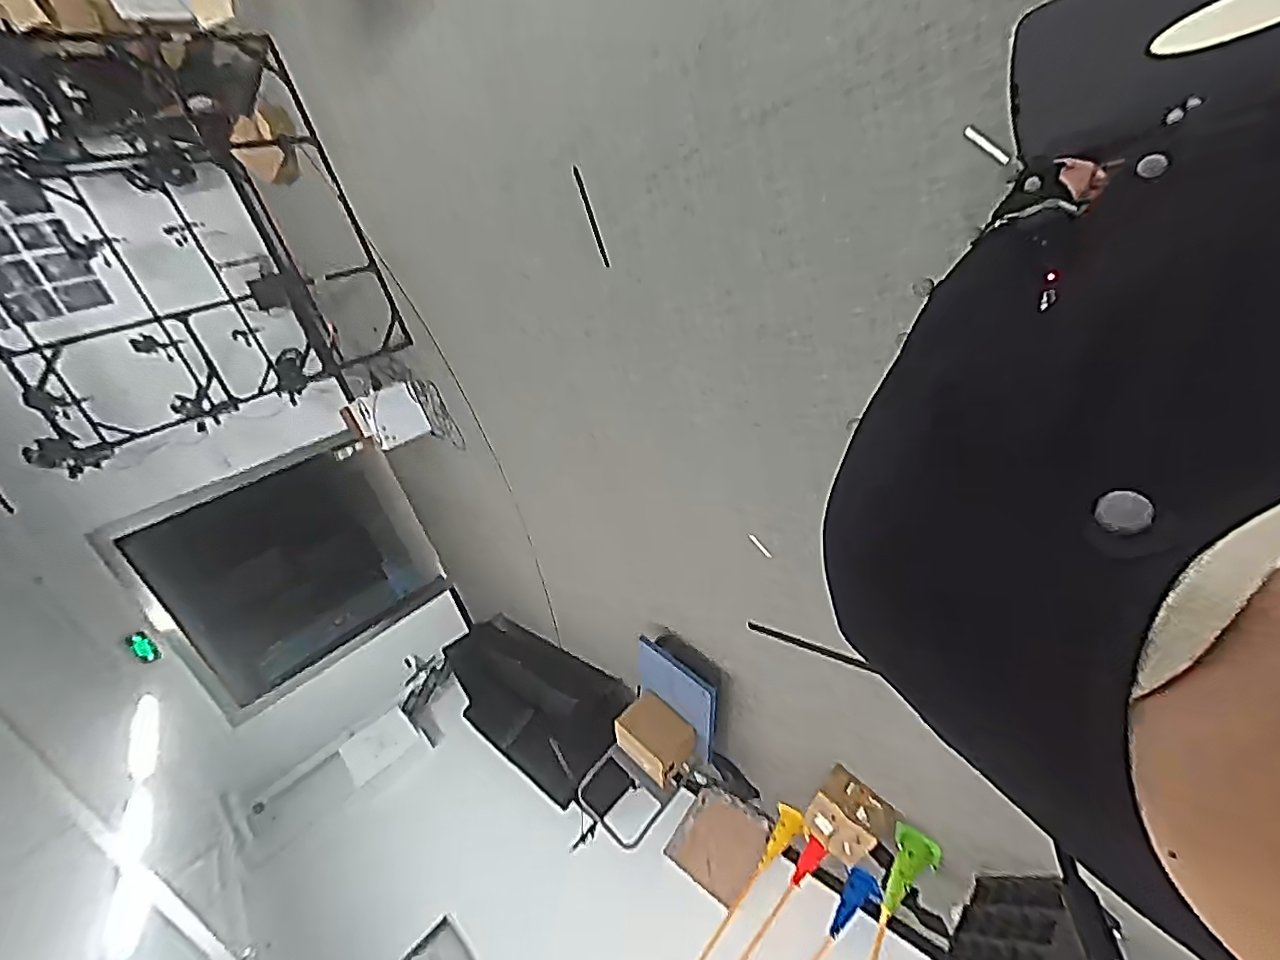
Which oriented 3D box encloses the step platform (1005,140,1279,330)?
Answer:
[{"bbox_3d":[1.049,-0.432,0.945,0.684,0.204,0.286,14,126,48],"label":"step platform"}]
